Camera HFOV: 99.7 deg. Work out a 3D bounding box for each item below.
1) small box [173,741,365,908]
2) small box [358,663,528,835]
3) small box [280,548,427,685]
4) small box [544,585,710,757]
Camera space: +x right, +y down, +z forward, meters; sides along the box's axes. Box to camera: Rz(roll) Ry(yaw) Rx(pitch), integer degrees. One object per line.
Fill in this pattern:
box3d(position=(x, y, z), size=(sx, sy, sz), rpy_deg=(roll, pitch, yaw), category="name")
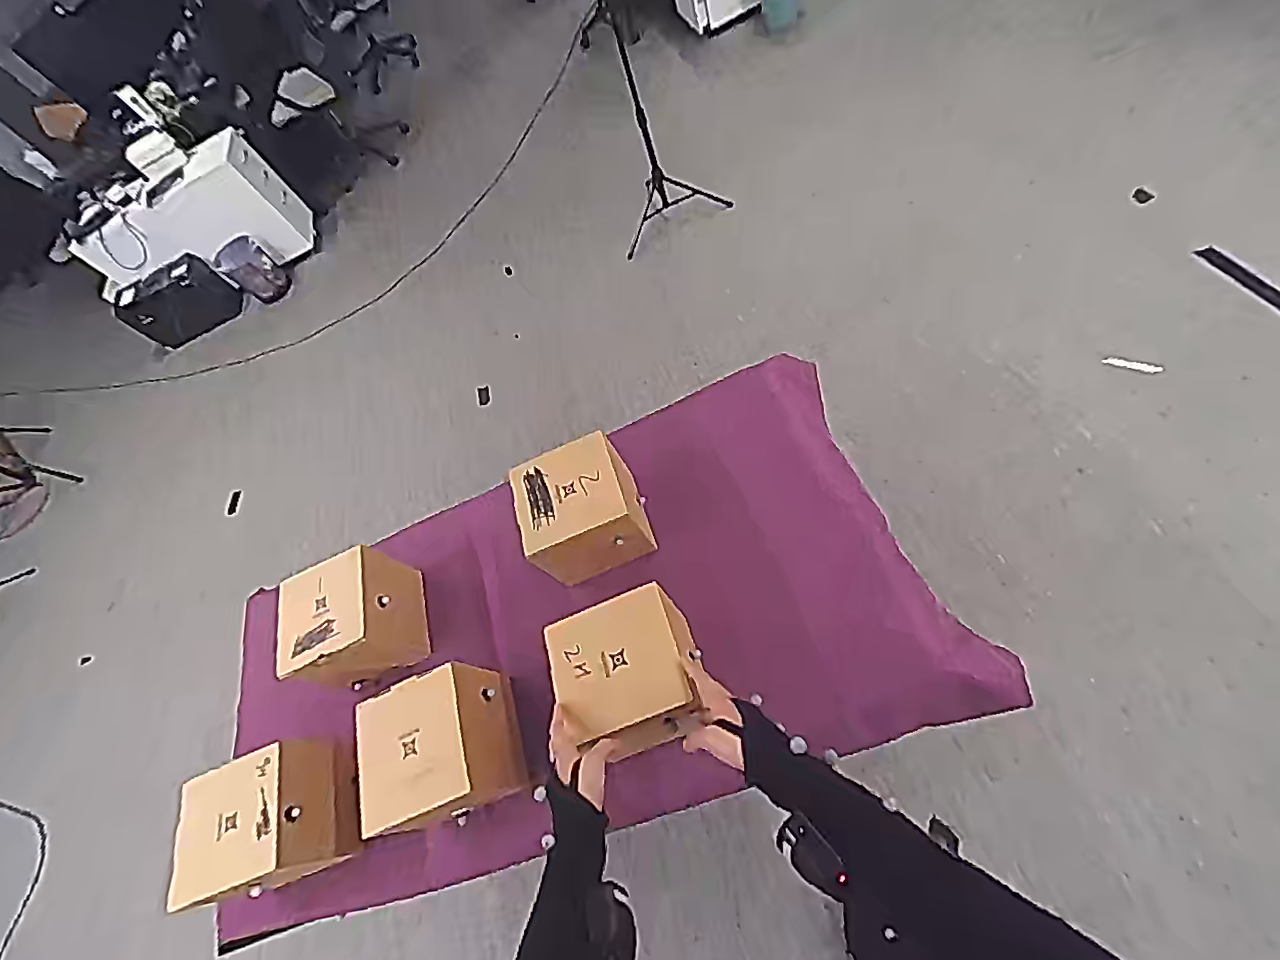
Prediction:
box3d(position=(-0.559, 0.523, 0.838), size=(0.179, 0.176, 0.168), rpy_deg=(-25, 59, 6), category="small box")
box3d(position=(-0.291, 0.400, 0.813), size=(0.168, 0.176, 0.179), rpy_deg=(-26, 60, 6), category="small box")
box3d(position=(-0.502, 0.251, 0.964), size=(0.168, 0.176, 0.179), rpy_deg=(-25, 58, 5), category="small box")
box3d(position=(-0.011, 0.278, 0.771), size=(0.179, 0.176, 0.168), rpy_deg=(-25, 54, 6), category="small box")
